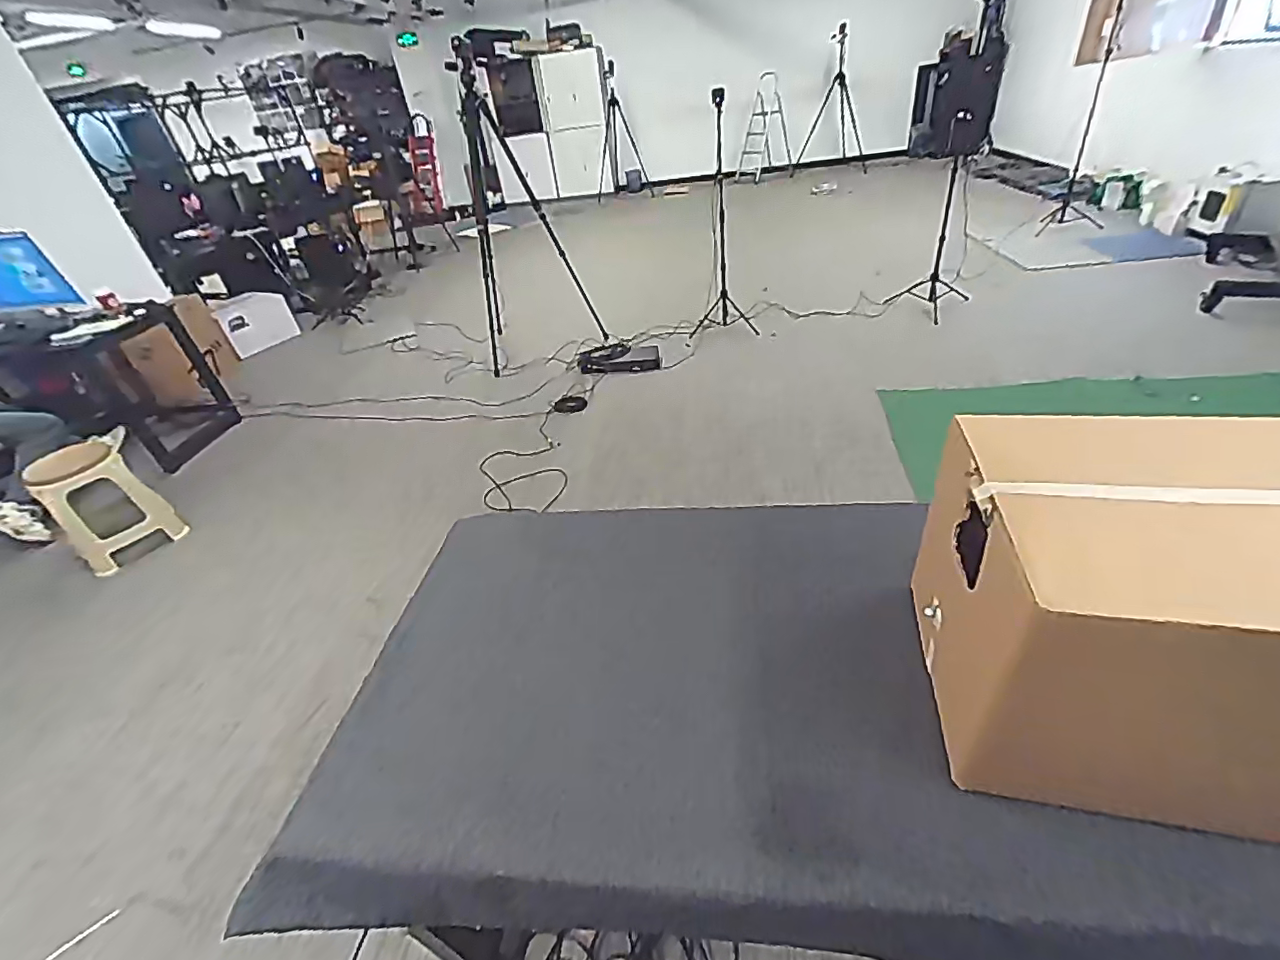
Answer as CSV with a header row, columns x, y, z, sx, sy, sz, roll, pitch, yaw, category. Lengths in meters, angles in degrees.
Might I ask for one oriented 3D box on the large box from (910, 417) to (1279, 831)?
x,y,z,sx,sy,sz,roll,pitch,yaw,category
0.563,0.139,0.592,0.408,0.320,0.320,3,38,14,large box
